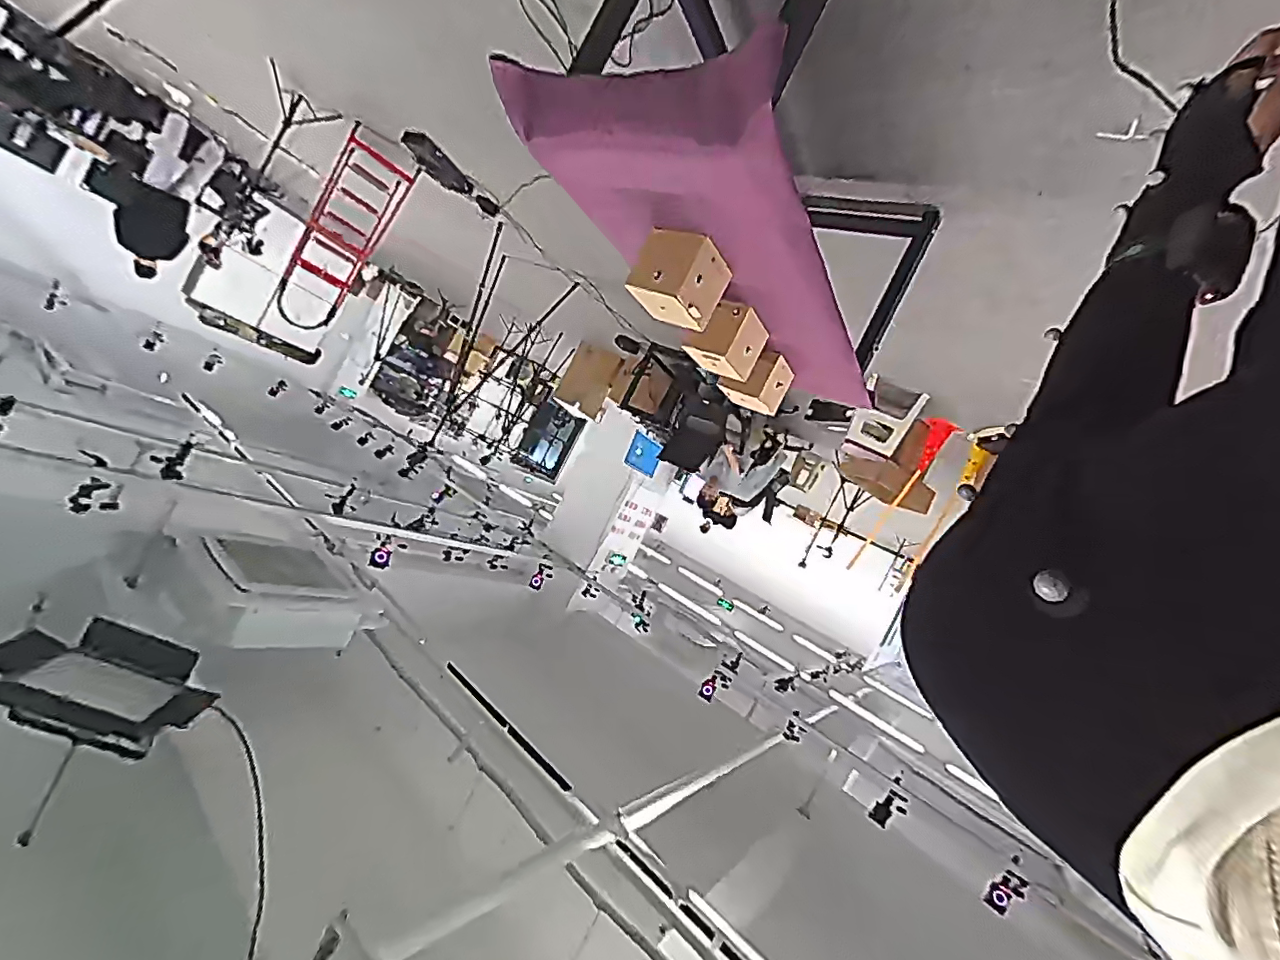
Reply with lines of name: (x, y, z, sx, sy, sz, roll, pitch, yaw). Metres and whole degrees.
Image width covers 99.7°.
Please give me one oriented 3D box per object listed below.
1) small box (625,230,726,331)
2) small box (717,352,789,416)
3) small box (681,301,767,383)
small box: (0.099, -0.509, 1.376, 0.179, 0.176, 0.168, 27, 179, 34)
small box: (0.401, -0.347, 1.882, 0.179, 0.176, 0.168, 26, 178, 35)
small box: (0.258, -0.423, 1.640, 0.168, 0.176, 0.179, 27, 180, 35)
